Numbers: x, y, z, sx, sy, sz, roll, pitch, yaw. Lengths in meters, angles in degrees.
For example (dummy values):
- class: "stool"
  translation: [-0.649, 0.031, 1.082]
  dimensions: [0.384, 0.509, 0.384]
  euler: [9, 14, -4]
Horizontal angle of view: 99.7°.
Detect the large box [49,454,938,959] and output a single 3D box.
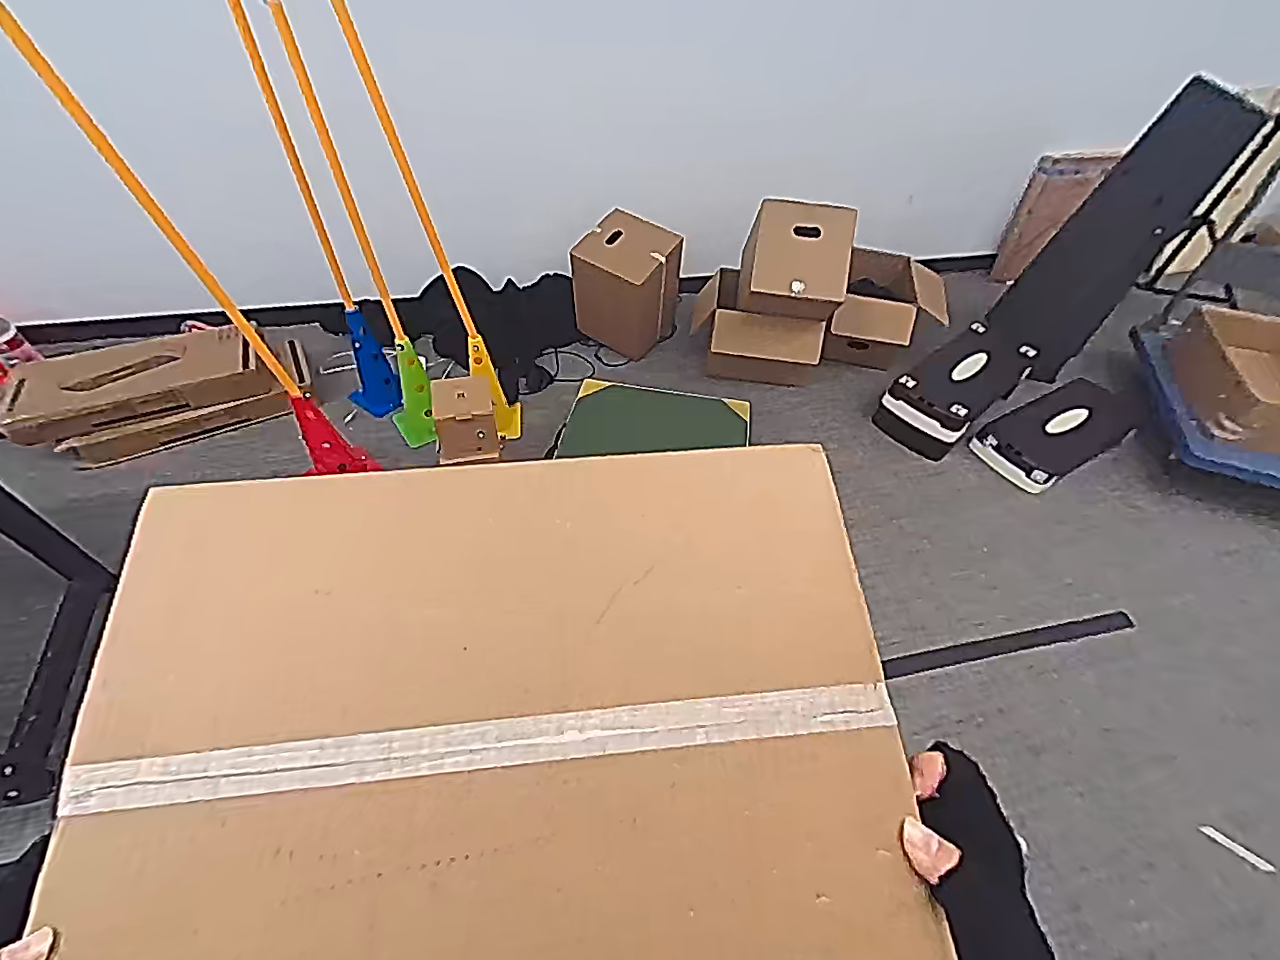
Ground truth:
- class: "large box"
  translation: [-0.076, 0.197, 0.417]
  dimensions: [0.408, 0.320, 0.320]
  euler: [-4, 67, -4]
